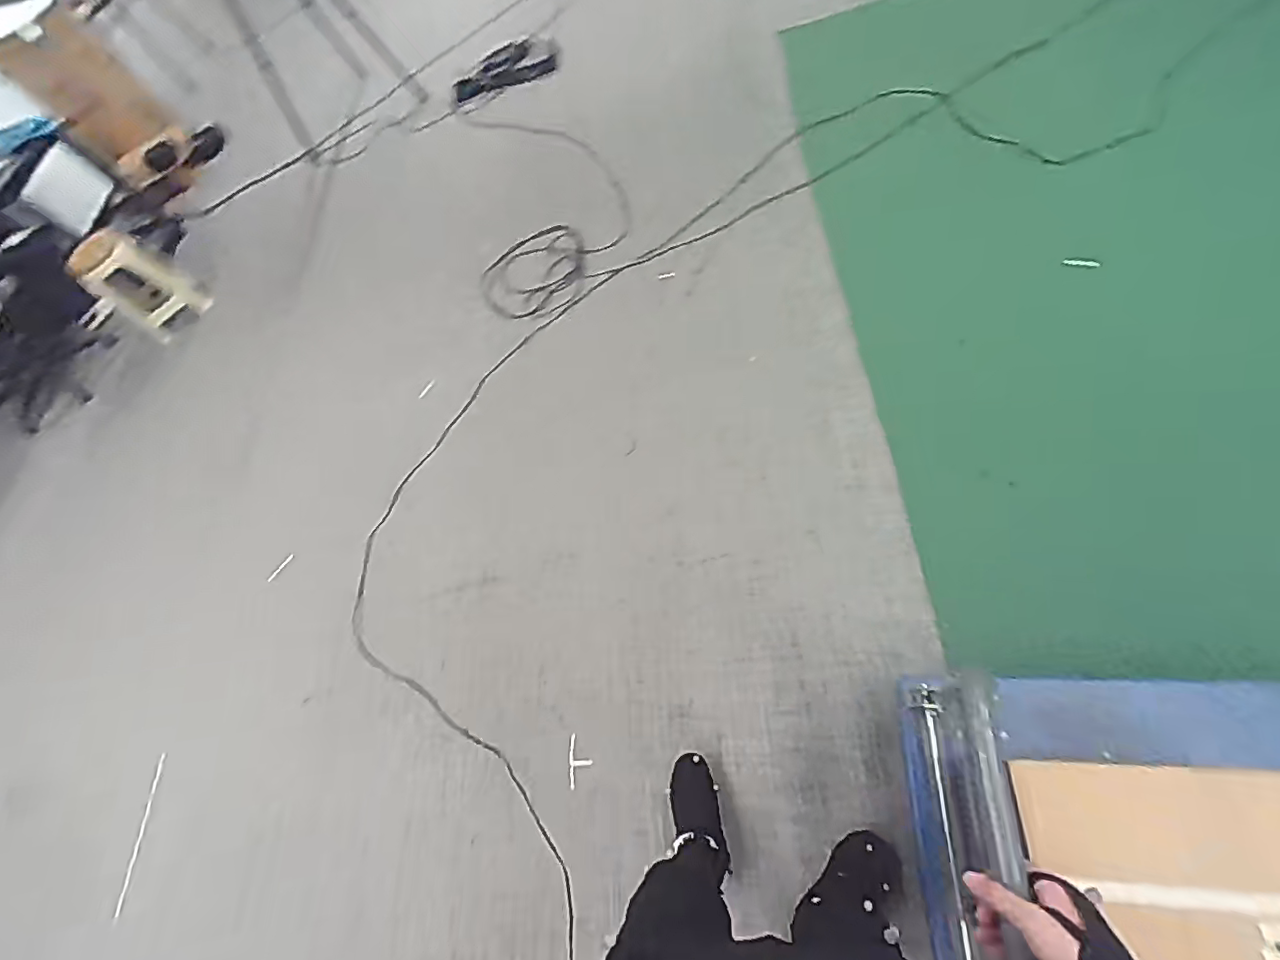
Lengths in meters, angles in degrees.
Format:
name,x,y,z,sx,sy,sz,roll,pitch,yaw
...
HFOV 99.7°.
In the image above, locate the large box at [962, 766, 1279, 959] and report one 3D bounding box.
name,x,y,z,sx,sy,sz,roll,pitch,yaw
large box,0.799,0.636,0.859,0.408,0.320,0.320,-4,64,15
